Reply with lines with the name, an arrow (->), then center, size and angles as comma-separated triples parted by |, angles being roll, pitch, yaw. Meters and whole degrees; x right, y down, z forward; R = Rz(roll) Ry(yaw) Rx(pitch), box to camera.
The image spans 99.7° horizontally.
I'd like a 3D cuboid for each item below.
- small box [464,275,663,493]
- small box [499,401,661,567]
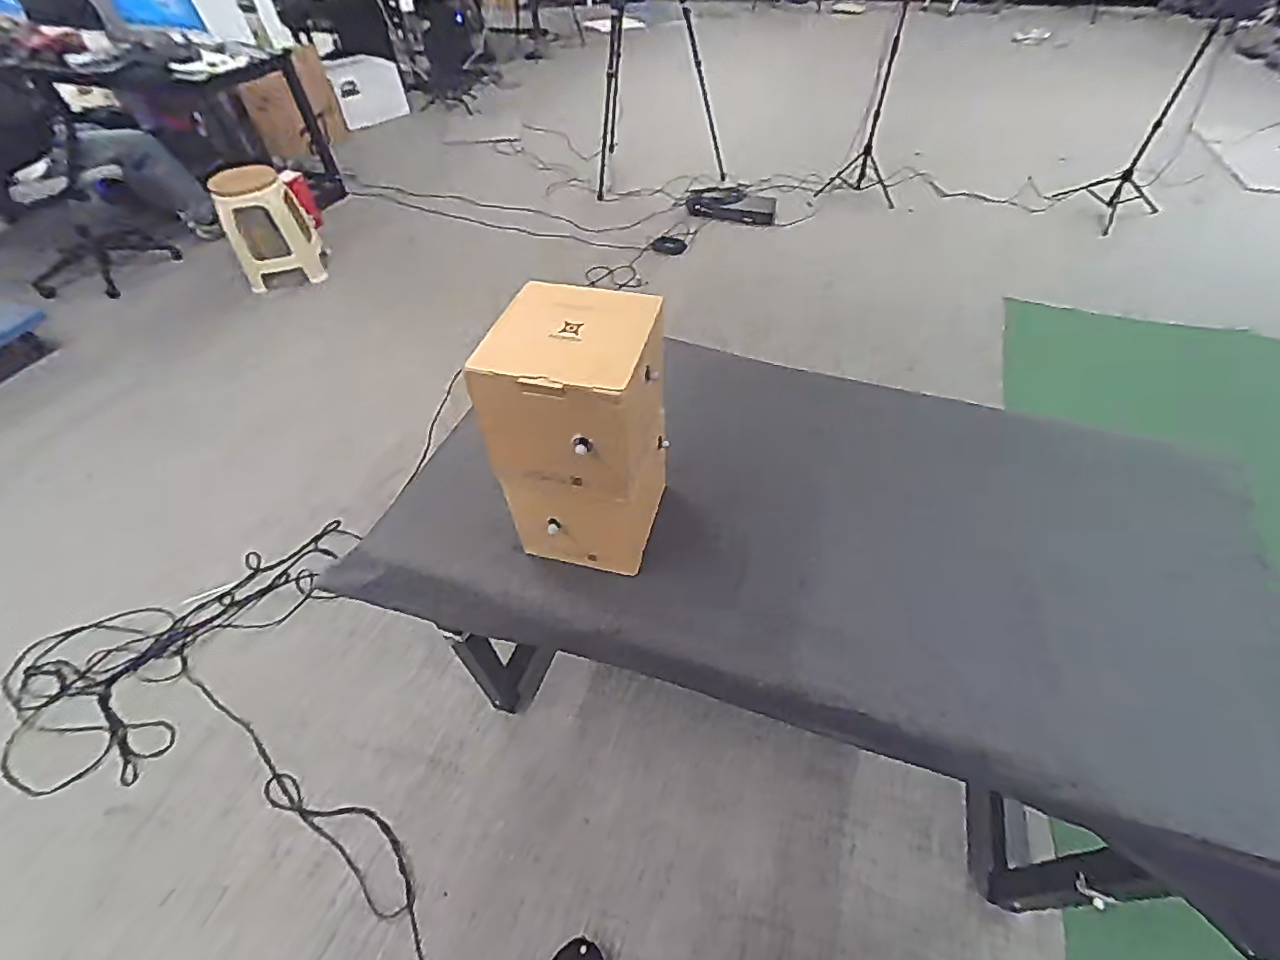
small box -> -0.072, -0.108, 0.624 | 0.168, 0.176, 0.179 | 11, 49, 9
small box -> -0.068, -0.003, 0.748 | 0.168, 0.176, 0.179 | 11, 50, 10
